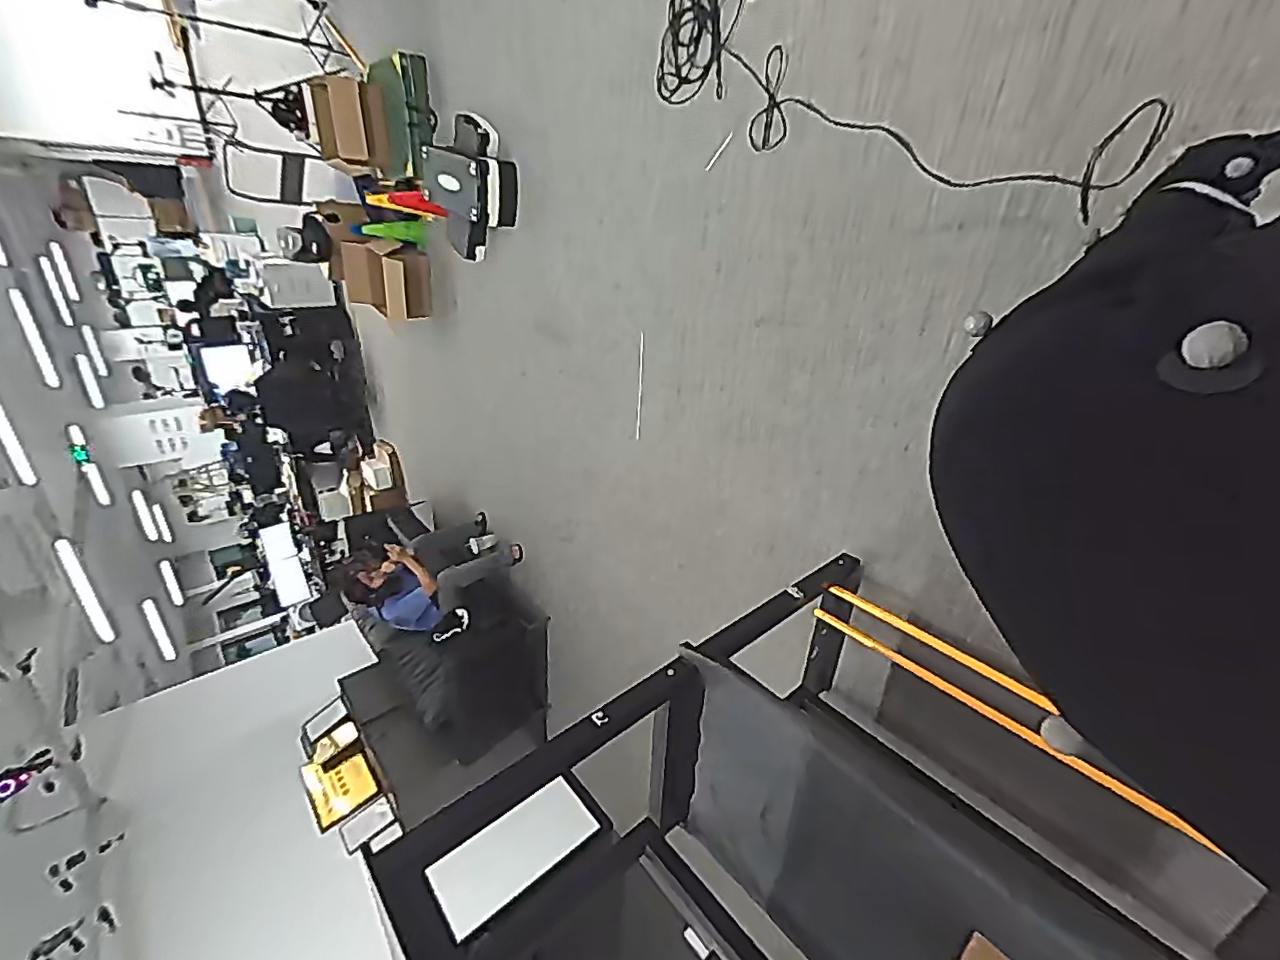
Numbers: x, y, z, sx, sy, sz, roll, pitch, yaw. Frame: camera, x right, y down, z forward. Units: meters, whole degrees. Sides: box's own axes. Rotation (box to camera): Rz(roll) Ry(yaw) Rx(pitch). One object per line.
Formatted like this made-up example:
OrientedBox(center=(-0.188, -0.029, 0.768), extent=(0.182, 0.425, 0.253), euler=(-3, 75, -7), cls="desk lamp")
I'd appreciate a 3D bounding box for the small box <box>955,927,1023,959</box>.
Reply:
OrientedBox(center=(0.549, 0.857, 0.828), extent=(0.168, 0.176, 0.179), euler=(28, 125, 41), cls="small box")
